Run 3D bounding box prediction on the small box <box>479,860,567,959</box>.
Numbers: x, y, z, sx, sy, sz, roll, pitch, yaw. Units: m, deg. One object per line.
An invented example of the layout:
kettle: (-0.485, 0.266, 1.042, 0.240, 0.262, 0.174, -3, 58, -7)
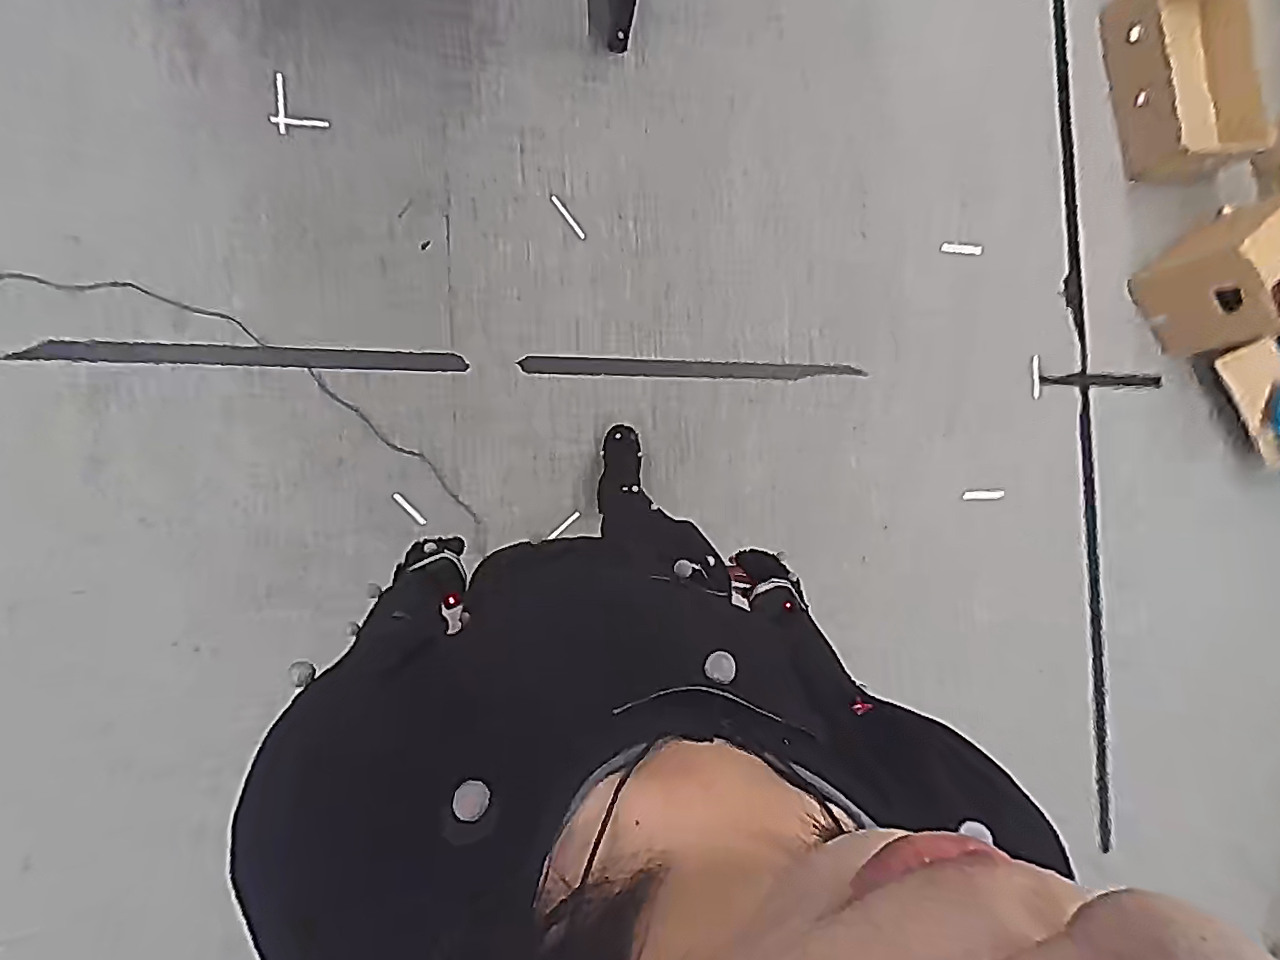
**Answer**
small box: (-0.288, 1.110, 1.348, 0.168, 0.176, 0.179, -20, 91, -12)
